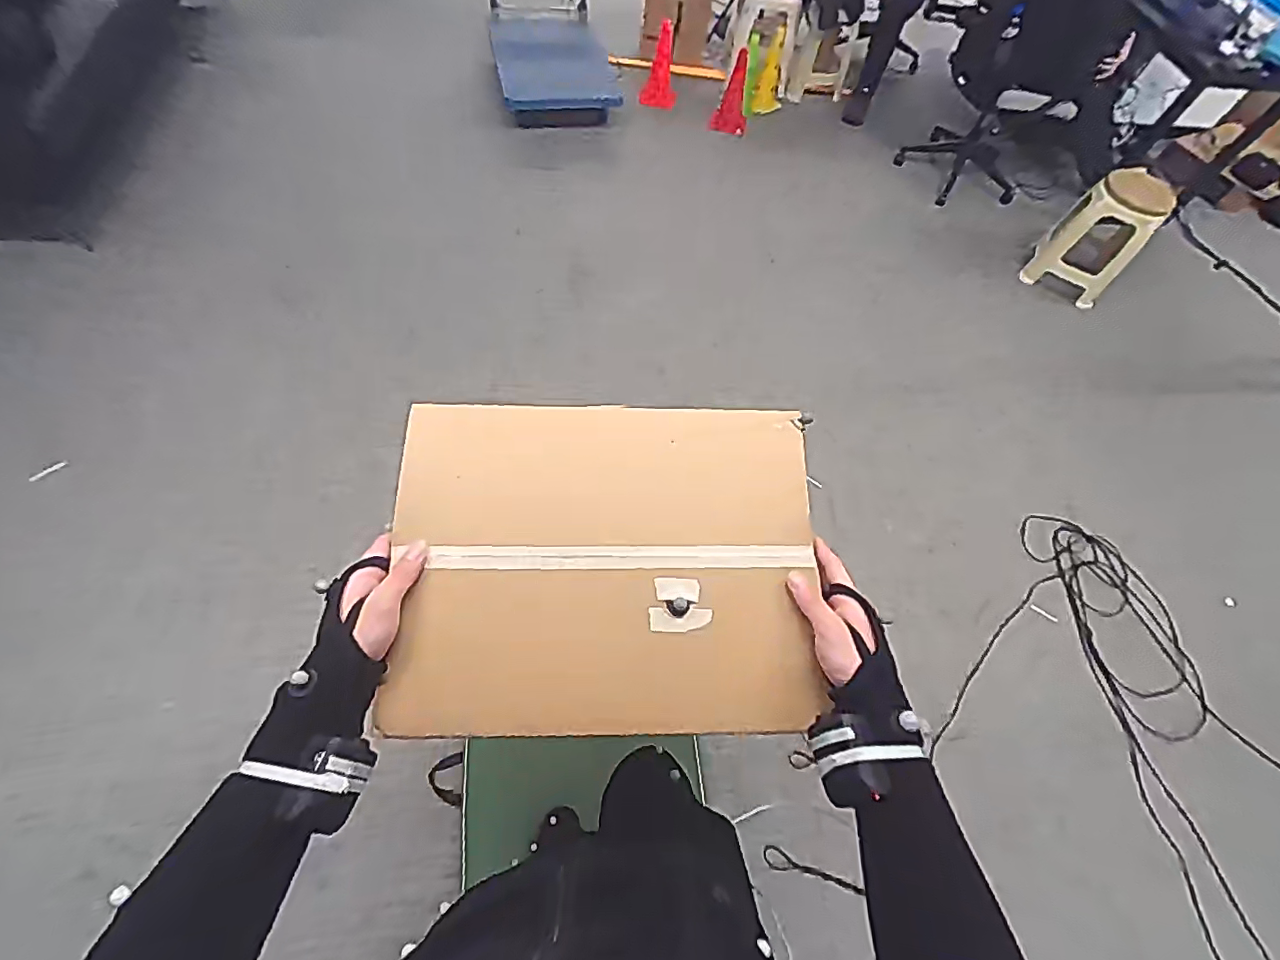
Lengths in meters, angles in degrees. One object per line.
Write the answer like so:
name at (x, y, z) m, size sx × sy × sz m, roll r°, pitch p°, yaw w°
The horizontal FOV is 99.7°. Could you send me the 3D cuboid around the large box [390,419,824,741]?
large box at (-0.040, 0.128, 0.675) m, size 0.408 × 0.320 × 0.320 m, roll 0°, pitch 73°, yaw -4°
